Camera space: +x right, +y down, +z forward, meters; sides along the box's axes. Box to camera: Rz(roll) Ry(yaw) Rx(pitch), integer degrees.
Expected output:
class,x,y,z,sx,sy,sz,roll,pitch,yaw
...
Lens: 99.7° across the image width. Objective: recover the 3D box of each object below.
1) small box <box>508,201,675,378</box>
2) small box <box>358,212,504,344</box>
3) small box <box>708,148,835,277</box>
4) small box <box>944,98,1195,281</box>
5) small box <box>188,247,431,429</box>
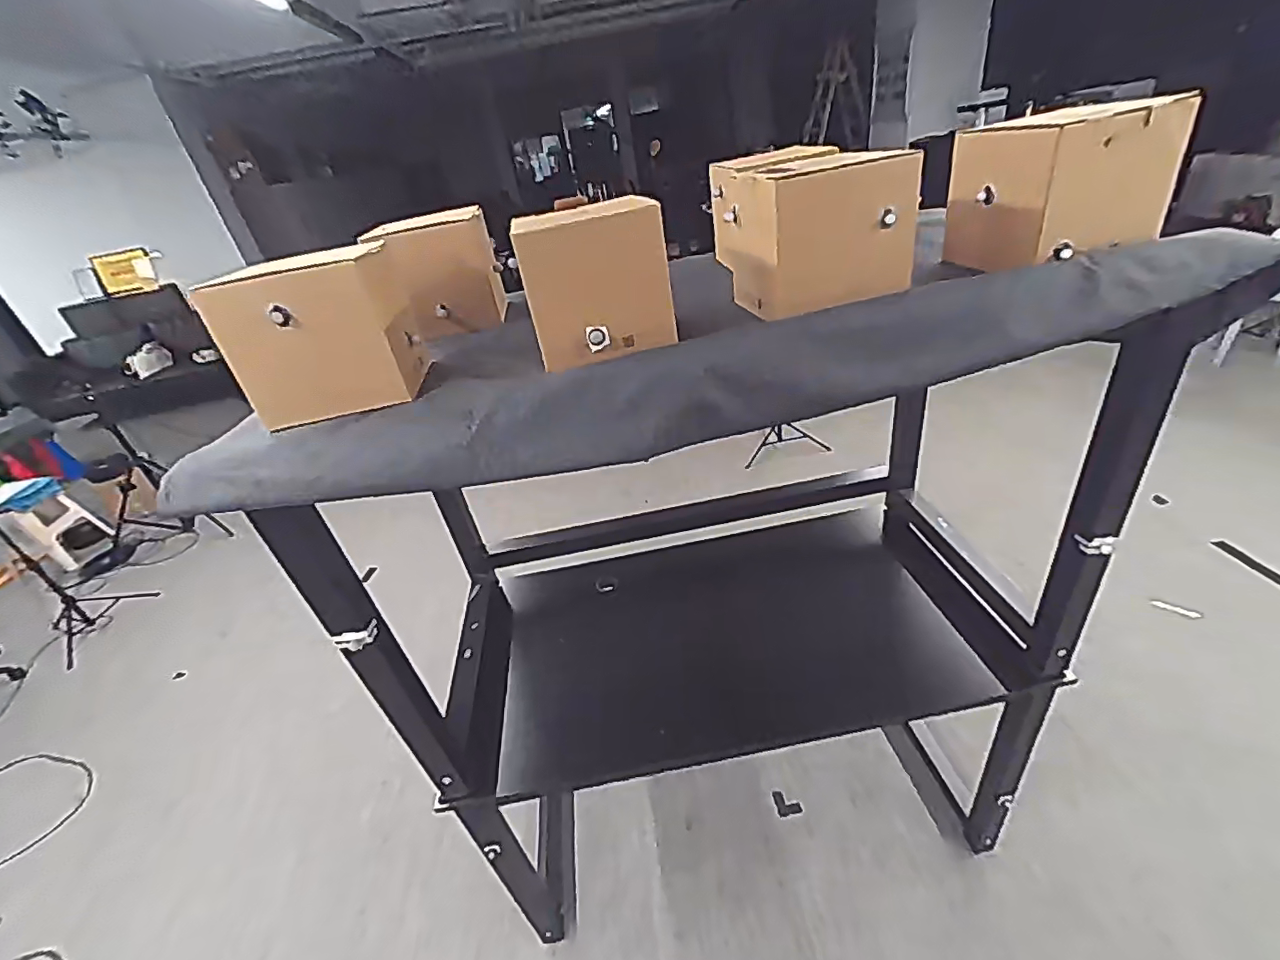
class,x,y,z,sx,sy,sz,roll,pitch,yaw
small box,-0.061,-0.243,0.683,0.168,0.176,0.179,-14,31,-4
small box,-0.338,-0.342,0.920,0.179,0.176,0.168,-12,32,-3
small box,0.226,-0.463,0.942,0.168,0.176,0.179,-12,32,-2
small box,0.523,-0.364,0.692,0.168,0.176,0.179,-13,31,-3
small box,-0.386,-0.178,0.673,0.179,0.176,0.168,-13,31,-5
